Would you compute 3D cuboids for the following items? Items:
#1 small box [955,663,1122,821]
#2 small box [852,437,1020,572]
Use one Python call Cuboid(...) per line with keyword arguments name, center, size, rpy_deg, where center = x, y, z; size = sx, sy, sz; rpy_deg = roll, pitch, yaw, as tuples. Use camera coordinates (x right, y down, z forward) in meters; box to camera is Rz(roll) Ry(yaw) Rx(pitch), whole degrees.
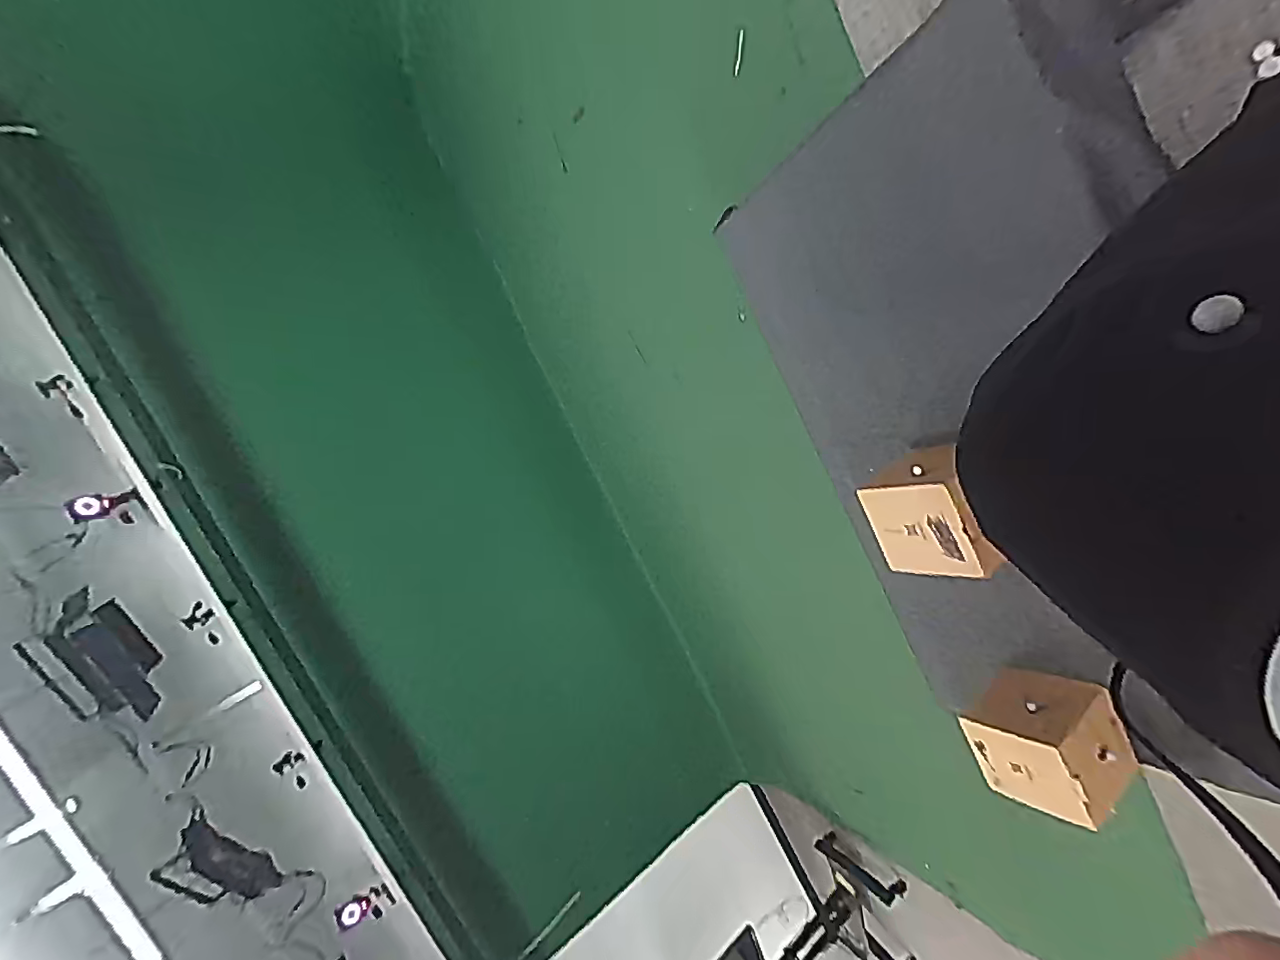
Cuboid(name="small box", center=(0.725, 0.457, 0.979), size=(0.168, 0.176, 0.179), rpy_deg=(64, 154, -5))
Cuboid(name="small box", center=(0.508, 0.039, 0.922), size=(0.168, 0.176, 0.179), rpy_deg=(63, 156, -8))
